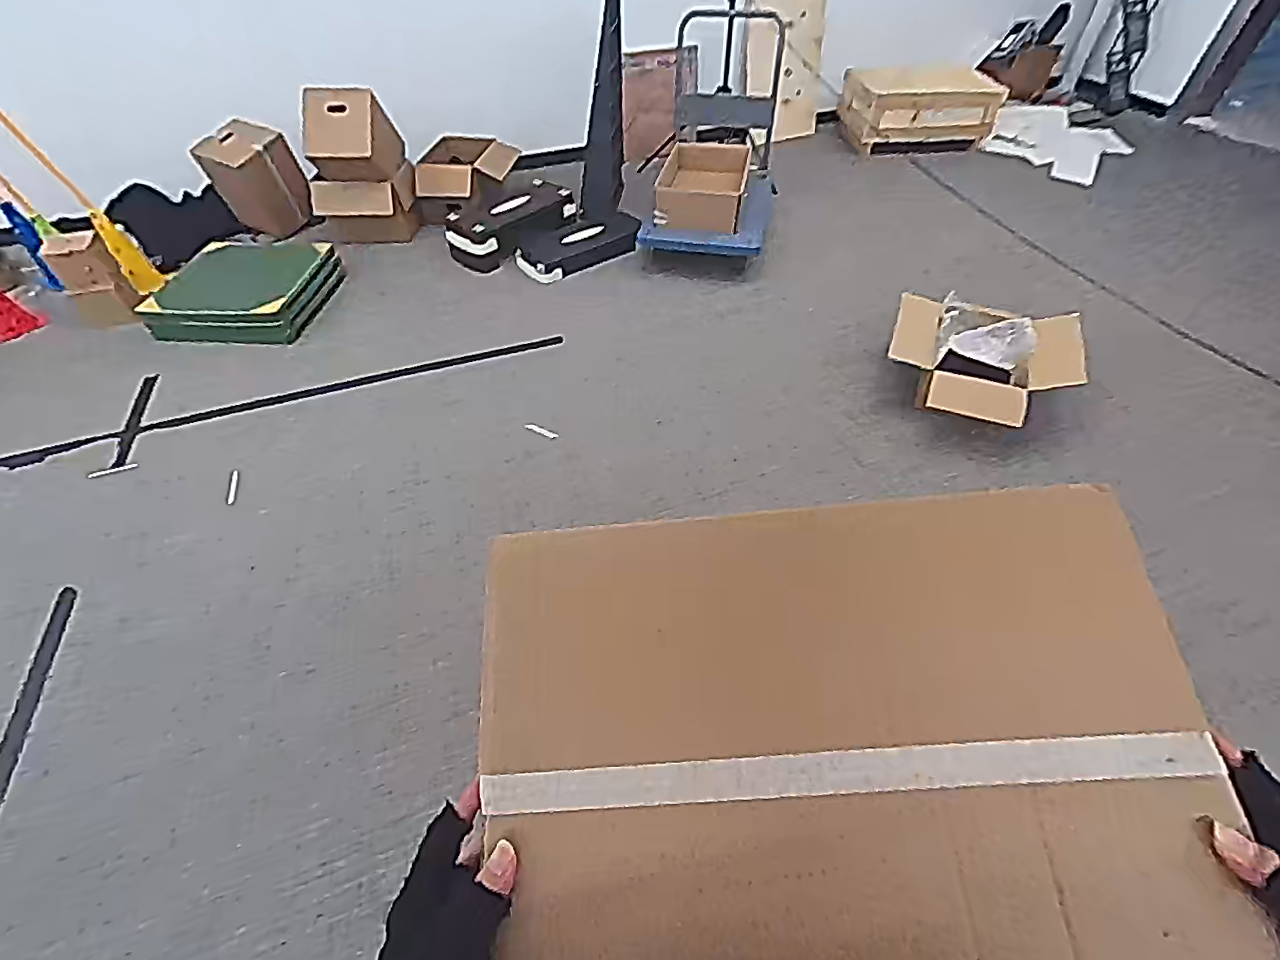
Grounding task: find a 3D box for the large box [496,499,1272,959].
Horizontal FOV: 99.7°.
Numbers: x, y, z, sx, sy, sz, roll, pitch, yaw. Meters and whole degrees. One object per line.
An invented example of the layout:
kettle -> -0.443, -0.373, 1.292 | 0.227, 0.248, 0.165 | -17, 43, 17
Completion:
large box -> 0.123, 0.228, 0.452 | 0.408, 0.320, 0.320 | -6, 70, 4
